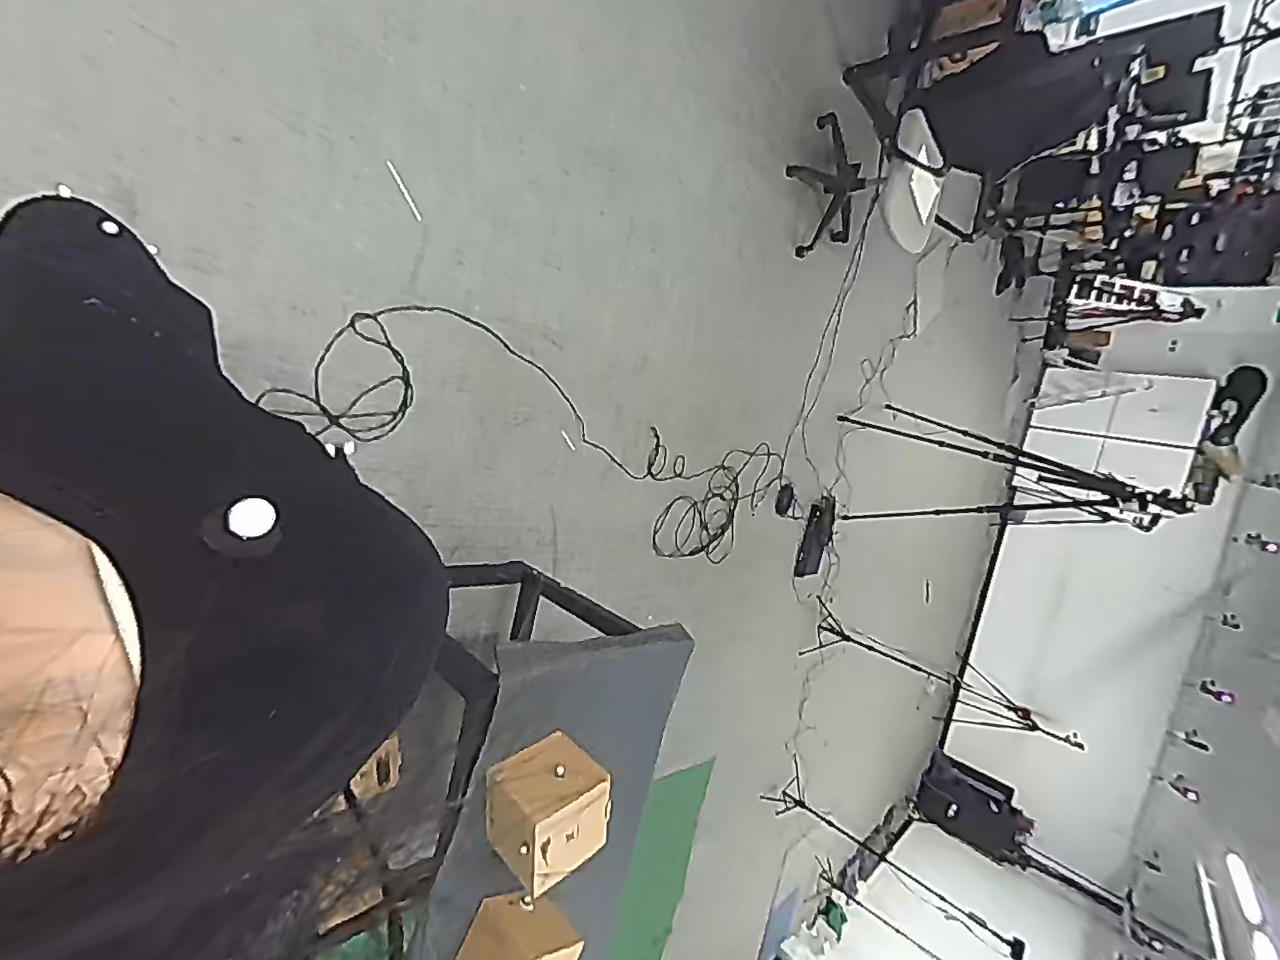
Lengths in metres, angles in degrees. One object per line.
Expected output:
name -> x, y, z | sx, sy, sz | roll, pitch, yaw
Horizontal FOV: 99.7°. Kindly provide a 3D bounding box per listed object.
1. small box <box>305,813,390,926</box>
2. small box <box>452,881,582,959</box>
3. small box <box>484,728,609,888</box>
small box -> -0.865, 1.136, 1.593 | 0.179, 0.176, 0.168 | 1, 103, -47
small box -> -0.258, 0.967, 1.099 | 0.168, 0.176, 0.179 | 38, 73, -49
small box -> -0.185, 0.628, 1.065 | 0.179, 0.176, 0.168 | -10, 110, -45
